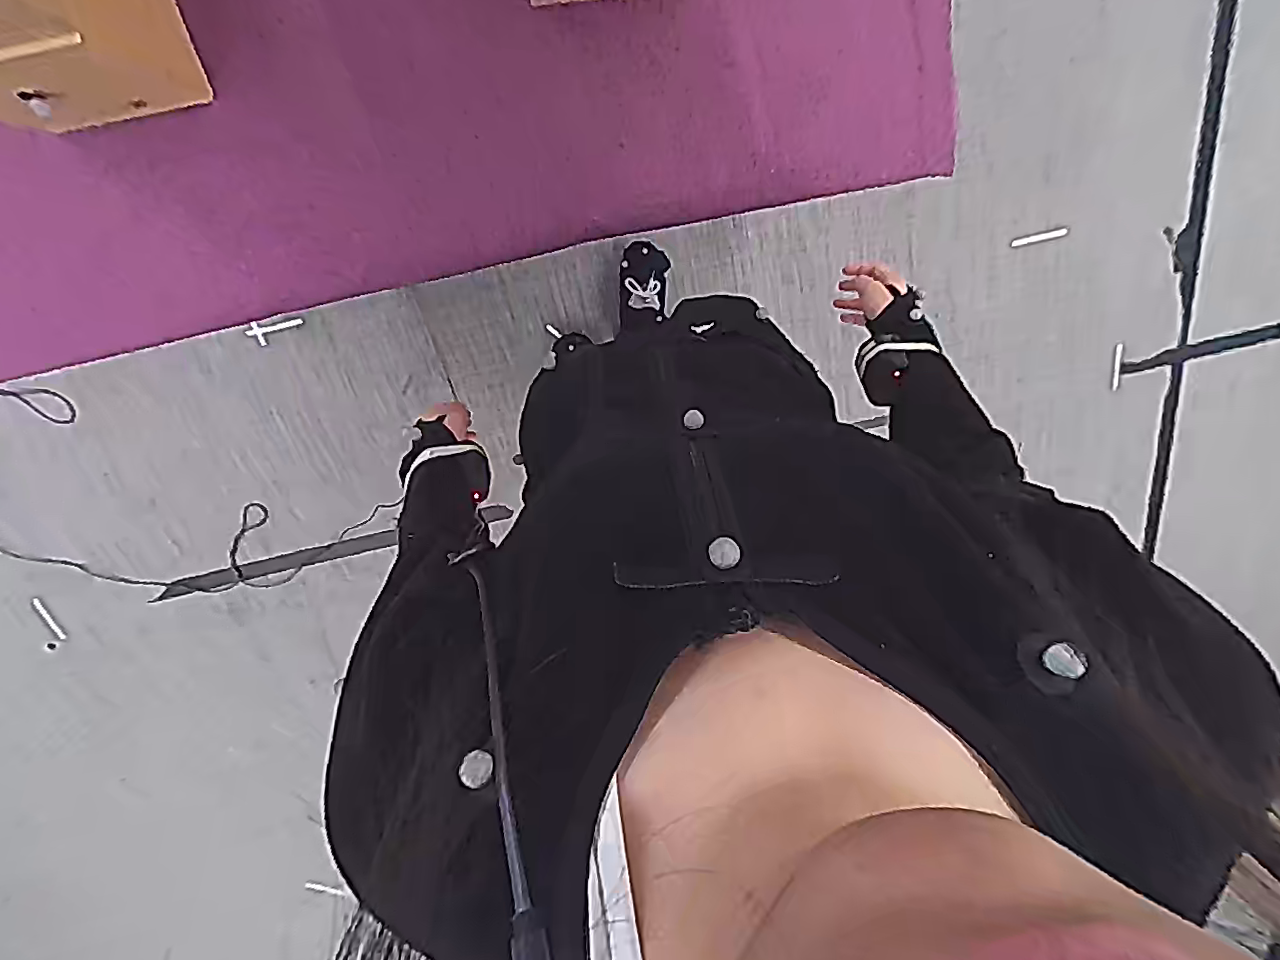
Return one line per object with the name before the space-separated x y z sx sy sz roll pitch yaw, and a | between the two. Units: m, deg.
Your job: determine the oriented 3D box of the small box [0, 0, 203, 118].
small box | -0.519 -0.421 0.441 0.168 0.176 0.179 -13 112 -2
